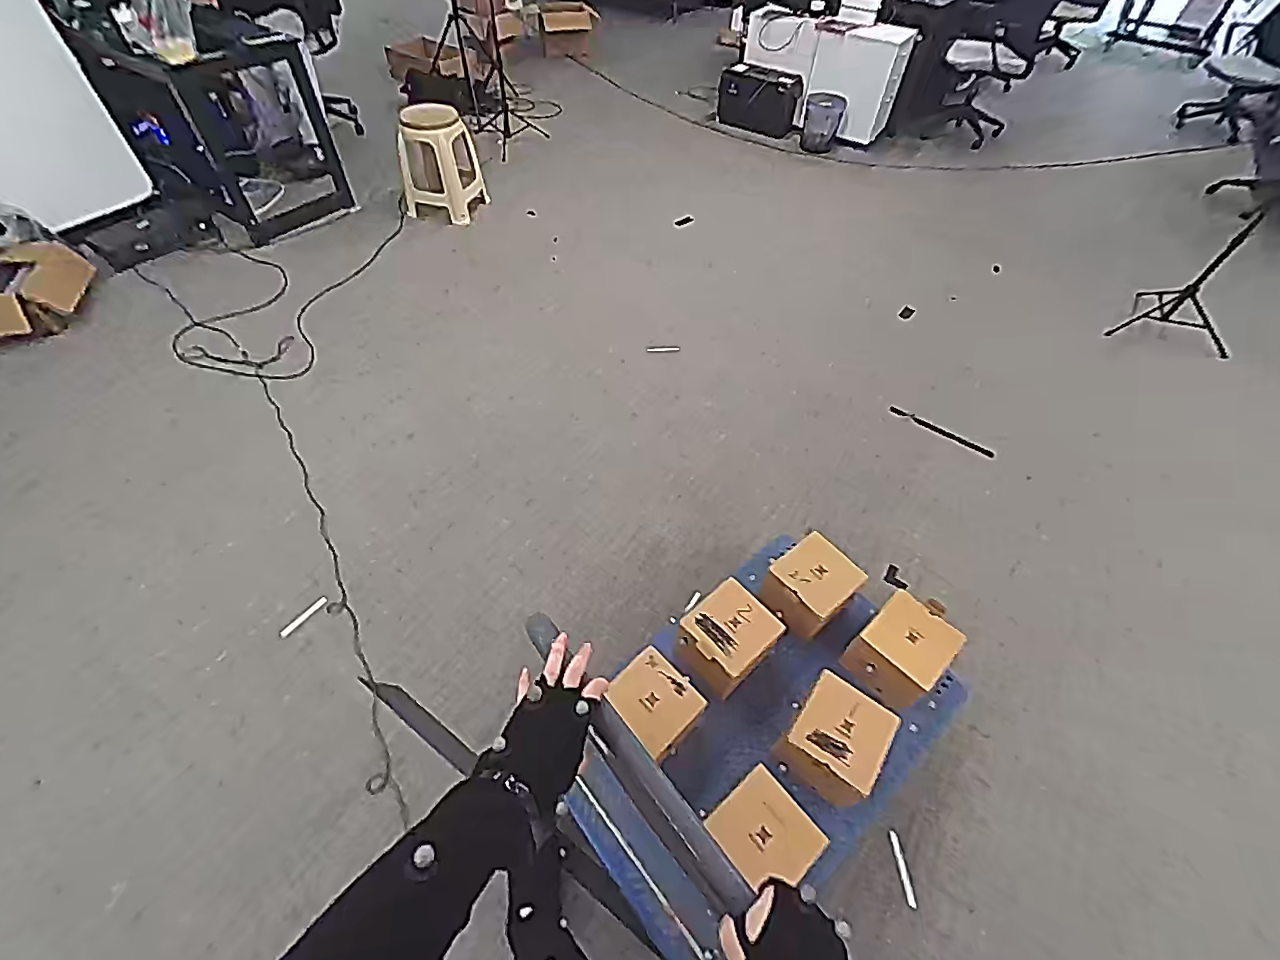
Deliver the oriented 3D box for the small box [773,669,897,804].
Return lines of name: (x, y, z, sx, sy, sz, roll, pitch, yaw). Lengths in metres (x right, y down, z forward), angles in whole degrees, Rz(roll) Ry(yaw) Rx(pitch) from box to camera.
small box: (0.396, 0.539, 1.129, 0.168, 0.176, 0.179, 33, 57, 21)

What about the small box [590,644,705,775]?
small box: (0.013, 0.489, 1.146, 0.179, 0.176, 0.168, -36, 63, -26)

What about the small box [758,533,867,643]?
small box: (0.417, 0.269, 1.339, 0.179, 0.176, 0.168, -31, 59, -23)

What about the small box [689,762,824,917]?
small box: (0.207, 0.674, 1.015, 0.179, 0.176, 0.168, -32, 61, -25)

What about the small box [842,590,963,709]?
small box: (0.594, 0.396, 1.251, 0.179, 0.176, 0.168, -35, 61, -26)
